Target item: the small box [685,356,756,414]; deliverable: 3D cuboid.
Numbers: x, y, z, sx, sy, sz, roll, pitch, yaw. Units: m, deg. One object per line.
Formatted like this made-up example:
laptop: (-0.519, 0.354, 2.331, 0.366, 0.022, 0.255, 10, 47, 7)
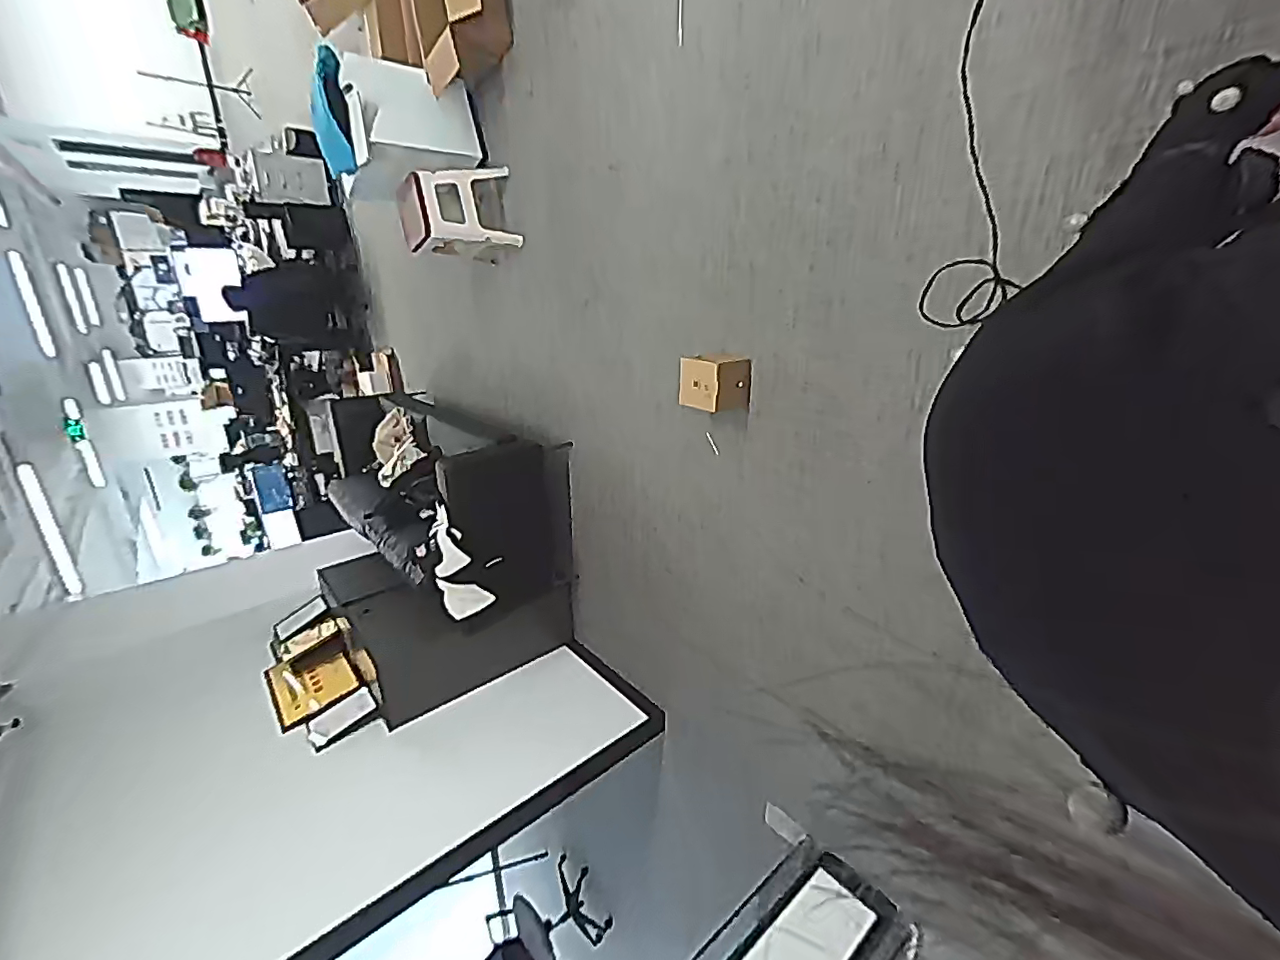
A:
small box: (0.278, -0.335, 1.878, 0.179, 0.176, 0.168, 22, 120, 46)
